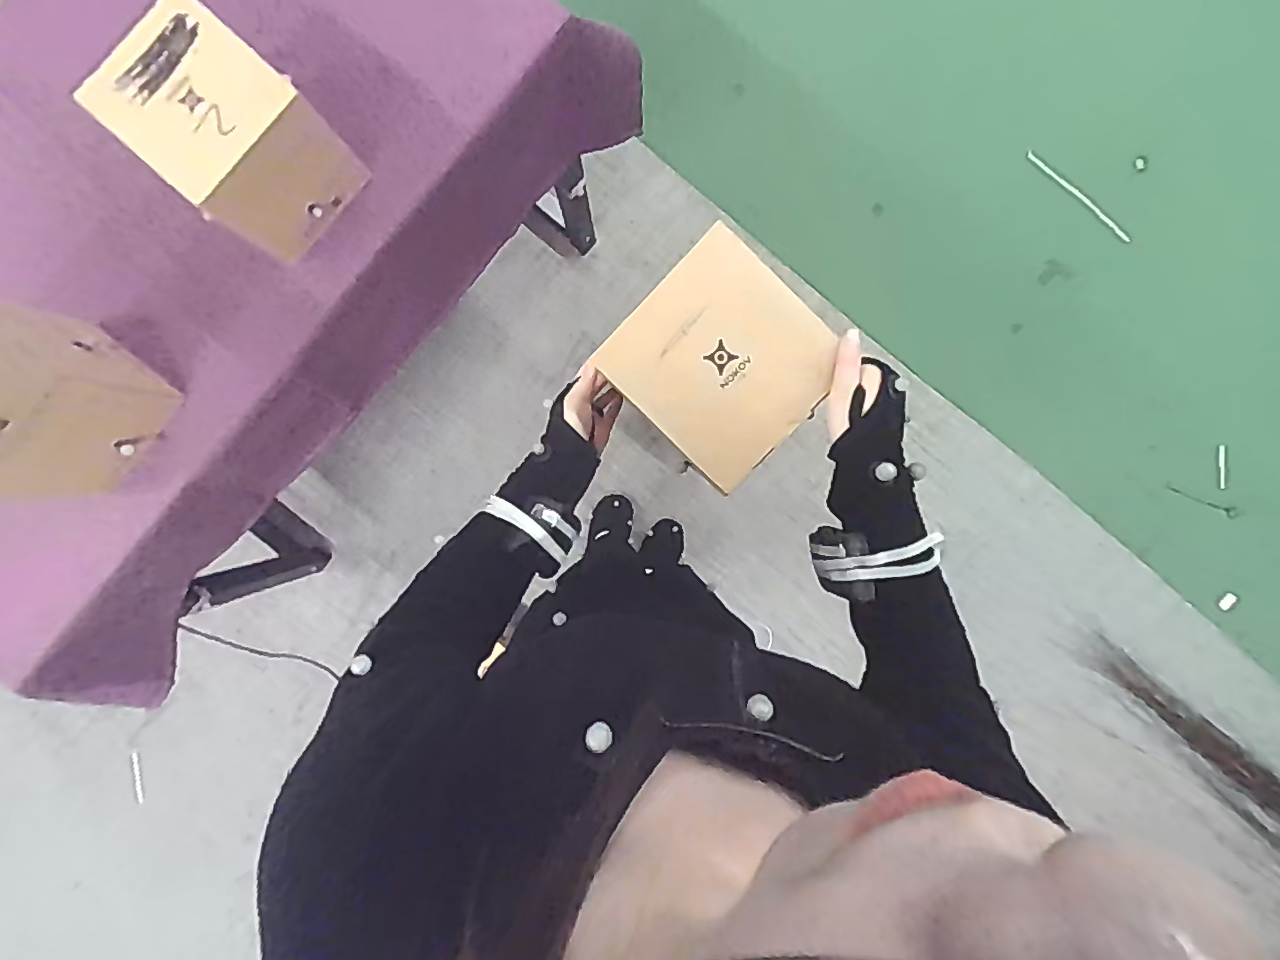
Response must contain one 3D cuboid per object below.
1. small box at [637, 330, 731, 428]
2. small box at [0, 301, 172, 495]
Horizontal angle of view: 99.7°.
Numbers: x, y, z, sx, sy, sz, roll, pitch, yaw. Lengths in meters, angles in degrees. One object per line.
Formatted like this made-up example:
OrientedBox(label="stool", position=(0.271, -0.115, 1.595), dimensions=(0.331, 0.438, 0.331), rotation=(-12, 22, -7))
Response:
OrientedBox(label="small box", position=(0.109, -0.251, 1.395), dimensions=(0.168, 0.176, 0.179), rotation=(38, 90, -2))
OrientedBox(label="small box", position=(-0.735, -0.100, 0.657), dimensions=(0.168, 0.176, 0.179), rotation=(38, 90, -1))
